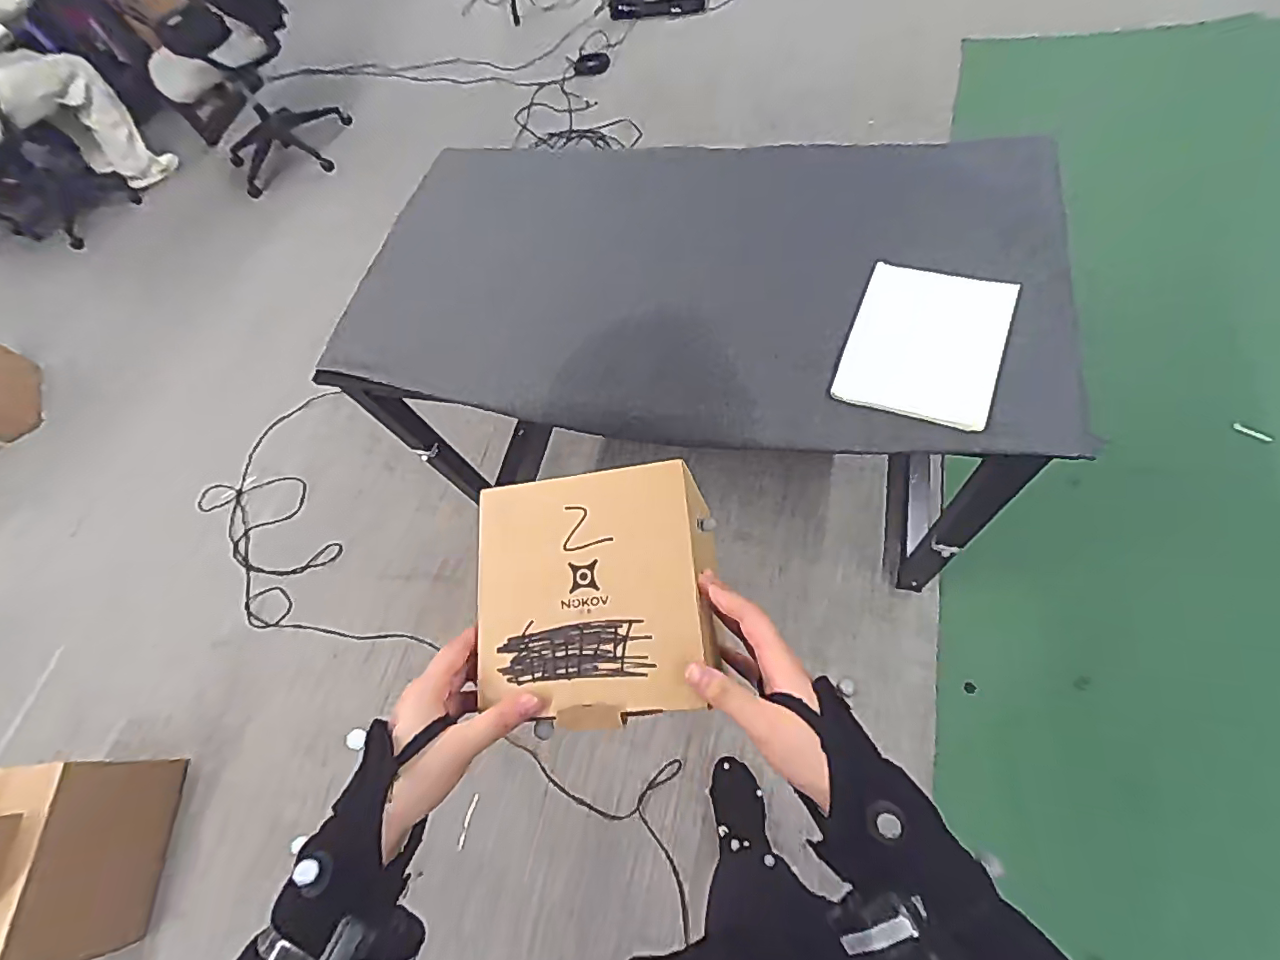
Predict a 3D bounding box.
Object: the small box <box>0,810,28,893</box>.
[{"bbox_3d":[-1.425,0.784,1.094,0.168,0.176,0.179,-8,63,7],"label":"small box"}]
